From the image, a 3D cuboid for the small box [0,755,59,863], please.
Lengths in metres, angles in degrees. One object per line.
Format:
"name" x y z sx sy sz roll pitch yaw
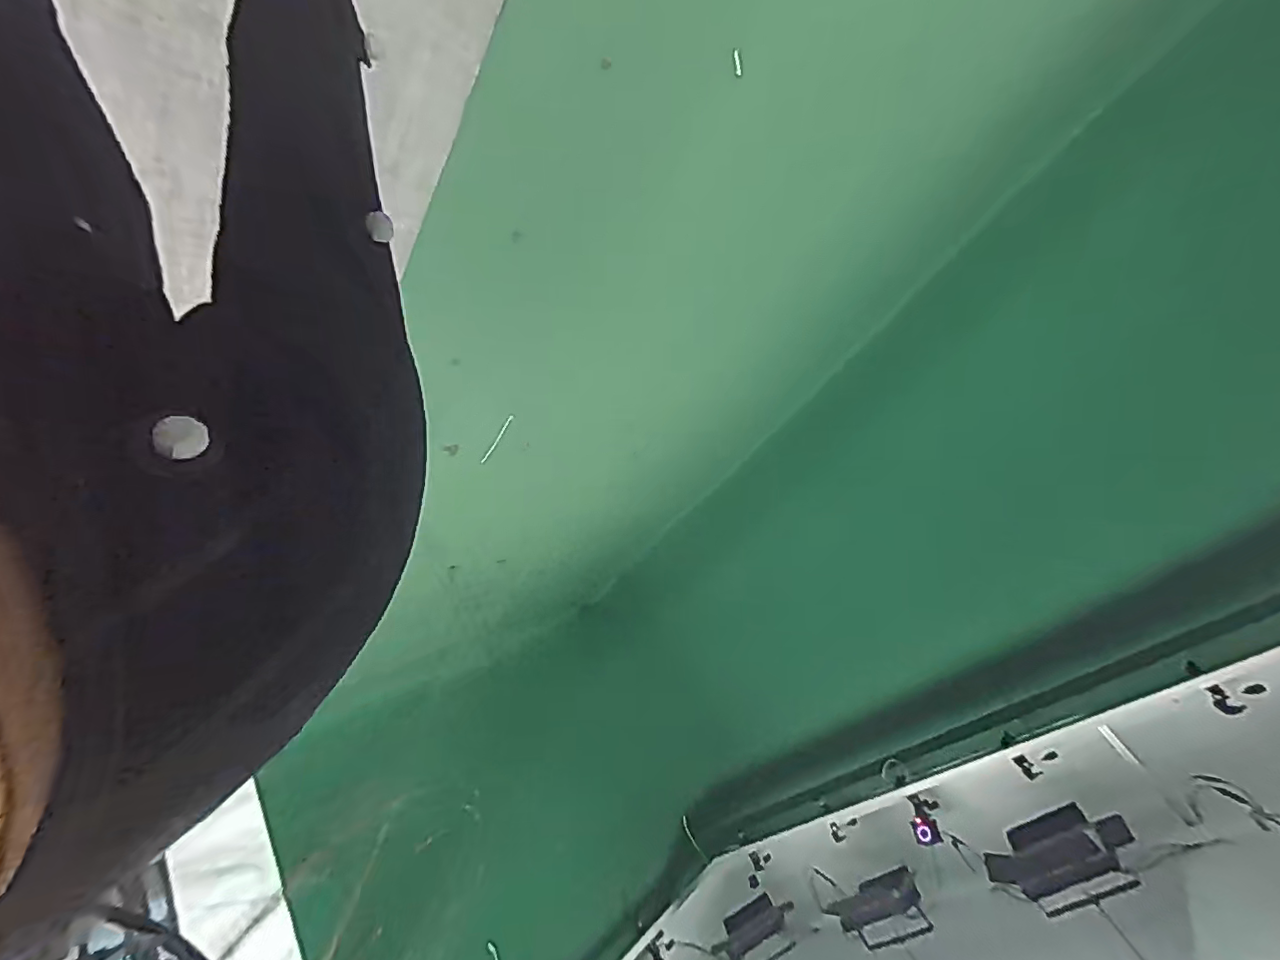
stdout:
"small box" -1.415 0.736 1.188 0.168 0.176 0.179 -9 151 -45
